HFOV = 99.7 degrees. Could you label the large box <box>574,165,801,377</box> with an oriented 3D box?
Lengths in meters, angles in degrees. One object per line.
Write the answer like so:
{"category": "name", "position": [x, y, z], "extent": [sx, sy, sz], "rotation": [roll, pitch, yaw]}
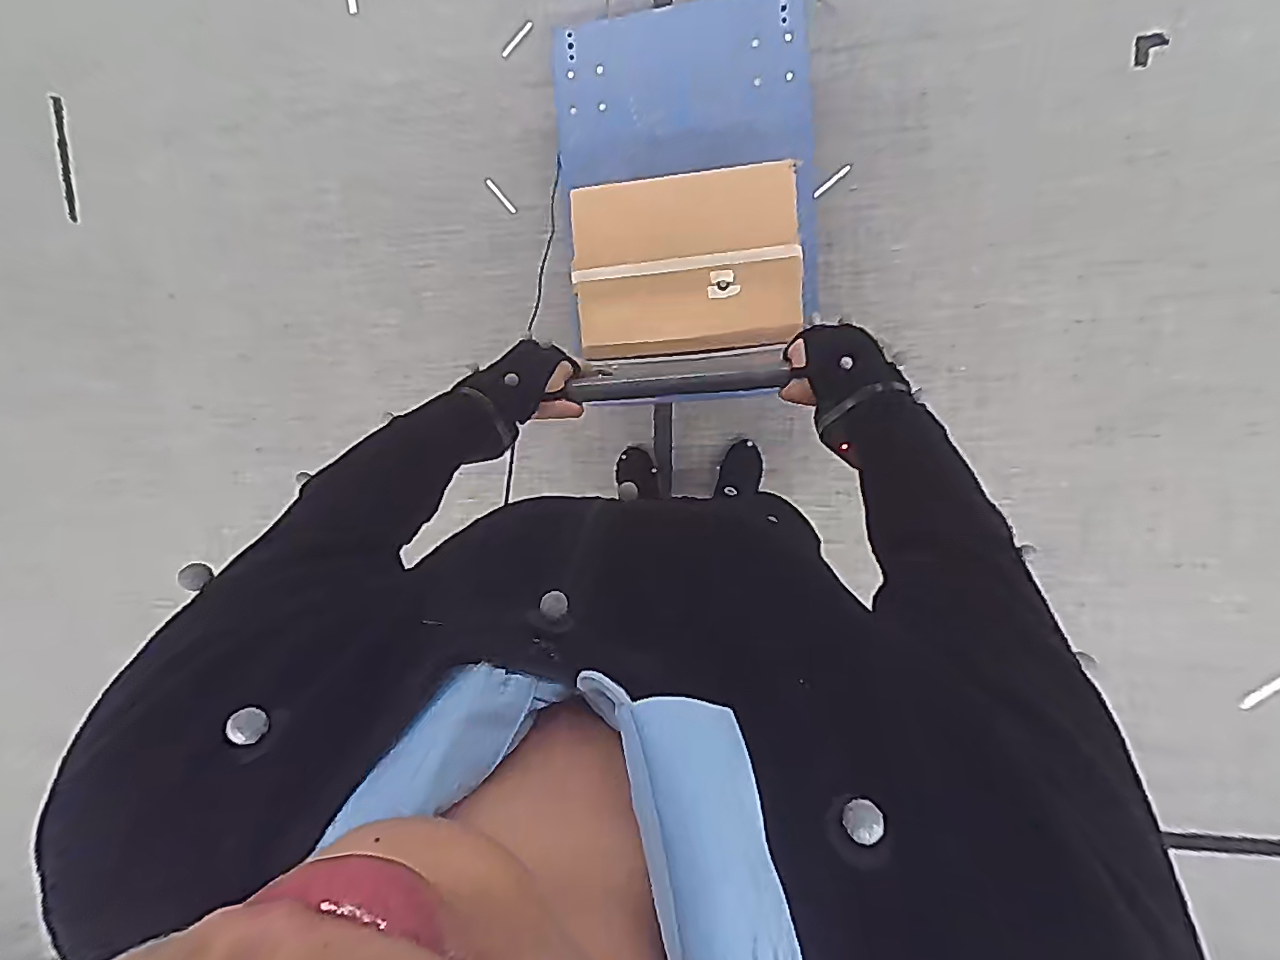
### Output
{"category": "large box", "position": [0.101, -0.404, 1.140], "extent": [0.408, 0.320, 0.320], "rotation": [-4, 95, 7]}
